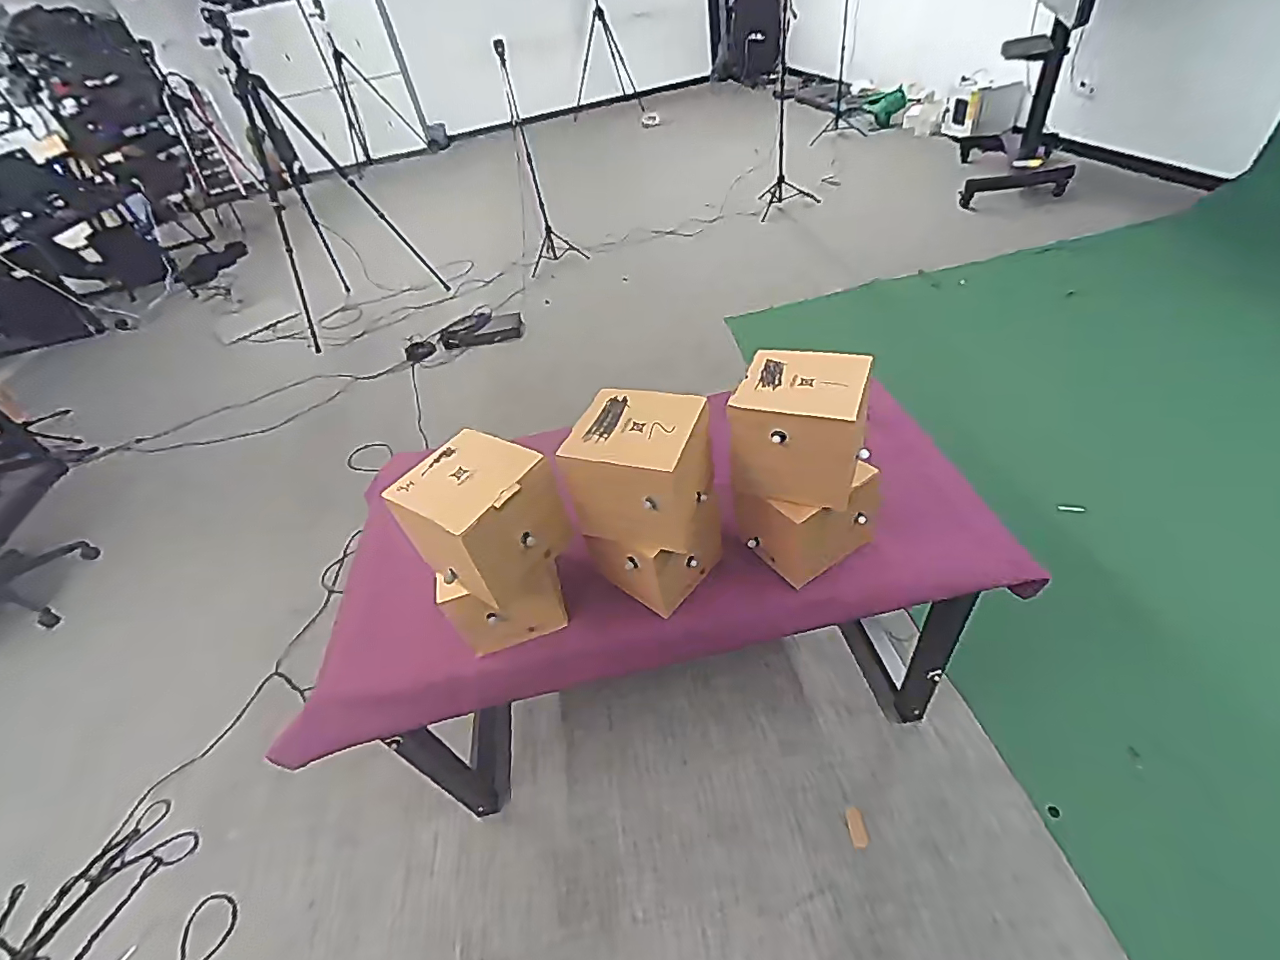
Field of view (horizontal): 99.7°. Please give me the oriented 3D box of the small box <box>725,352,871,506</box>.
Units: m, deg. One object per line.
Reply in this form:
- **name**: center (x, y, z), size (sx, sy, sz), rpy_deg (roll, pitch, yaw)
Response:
- **small box**: center (0.243, -0.080, 0.835), size (0.179, 0.176, 0.168), rpy_deg (11, 46, 24)

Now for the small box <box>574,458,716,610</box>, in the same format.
- **small box**: center (0.018, 0.097, 0.937), size (0.179, 0.176, 0.168), rpy_deg (27, 55, 35)

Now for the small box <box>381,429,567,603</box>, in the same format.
- **small box**: center (-0.232, 0.055, 0.801), size (0.179, 0.176, 0.168), rpy_deg (20, 50, 30)

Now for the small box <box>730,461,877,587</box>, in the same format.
- **small box**: center (0.274, 0.047, 0.934), size (0.179, 0.176, 0.168), rpy_deg (-29, 43, -17)

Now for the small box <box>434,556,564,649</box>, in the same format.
- **small box**: center (-0.238, 0.166, 0.926), size (0.168, 0.176, 0.179), rpy_deg (-18, 42, -6)
